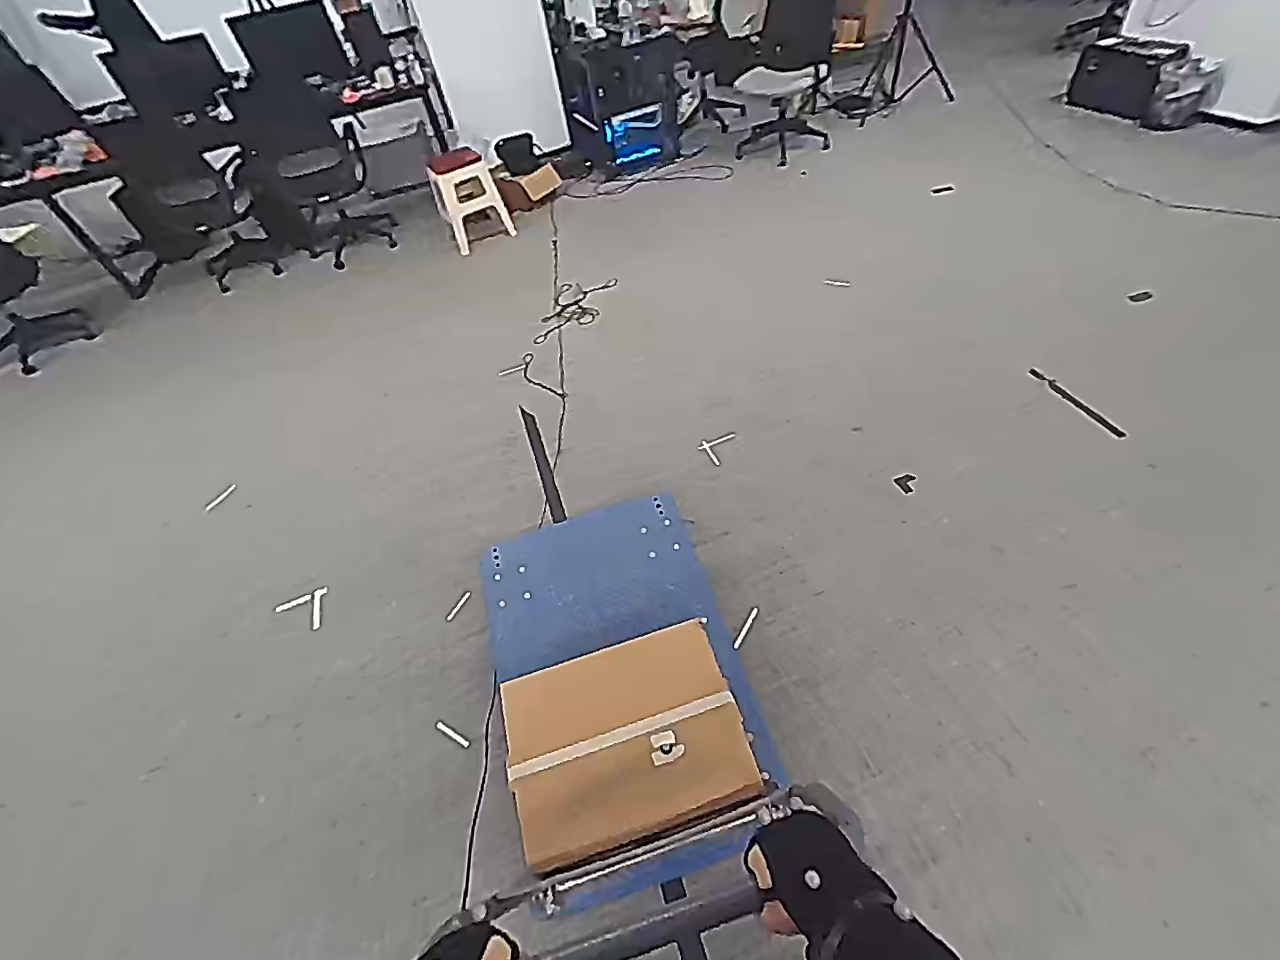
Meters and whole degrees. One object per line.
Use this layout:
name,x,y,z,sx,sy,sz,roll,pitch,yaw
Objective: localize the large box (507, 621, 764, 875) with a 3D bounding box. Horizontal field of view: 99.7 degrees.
large box,-0.010,0.541,1.089,0.408,0.320,0.320,-17,56,-6
